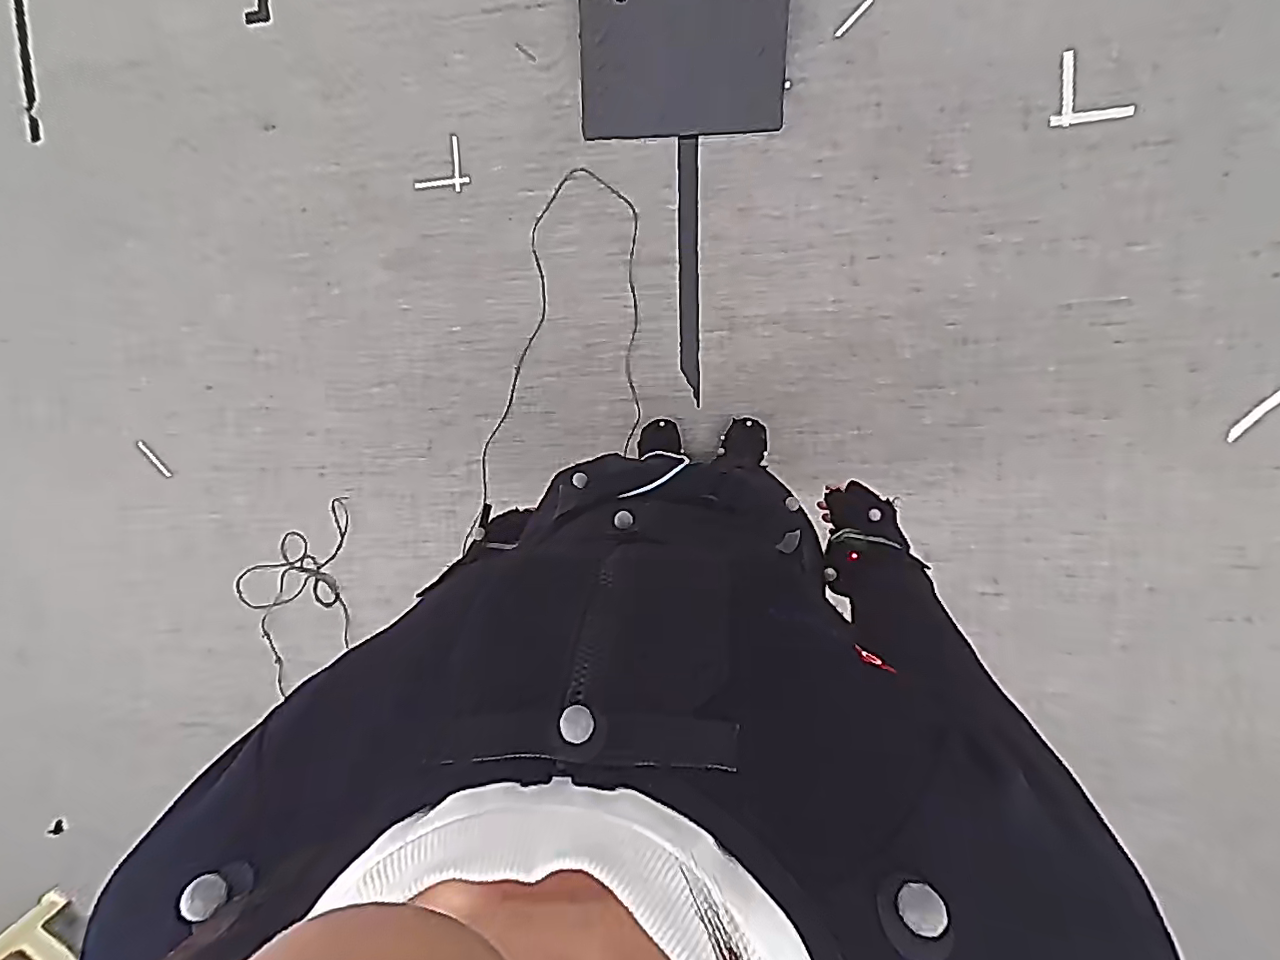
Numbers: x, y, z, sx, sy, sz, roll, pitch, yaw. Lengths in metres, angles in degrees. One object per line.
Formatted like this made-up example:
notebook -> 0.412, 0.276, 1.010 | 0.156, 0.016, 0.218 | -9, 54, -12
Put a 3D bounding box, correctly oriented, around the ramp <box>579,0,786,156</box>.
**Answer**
ramp -> 0.091, -1.314, 1.227 | 0.509, 0.206, 0.991 | -2, 96, 7
